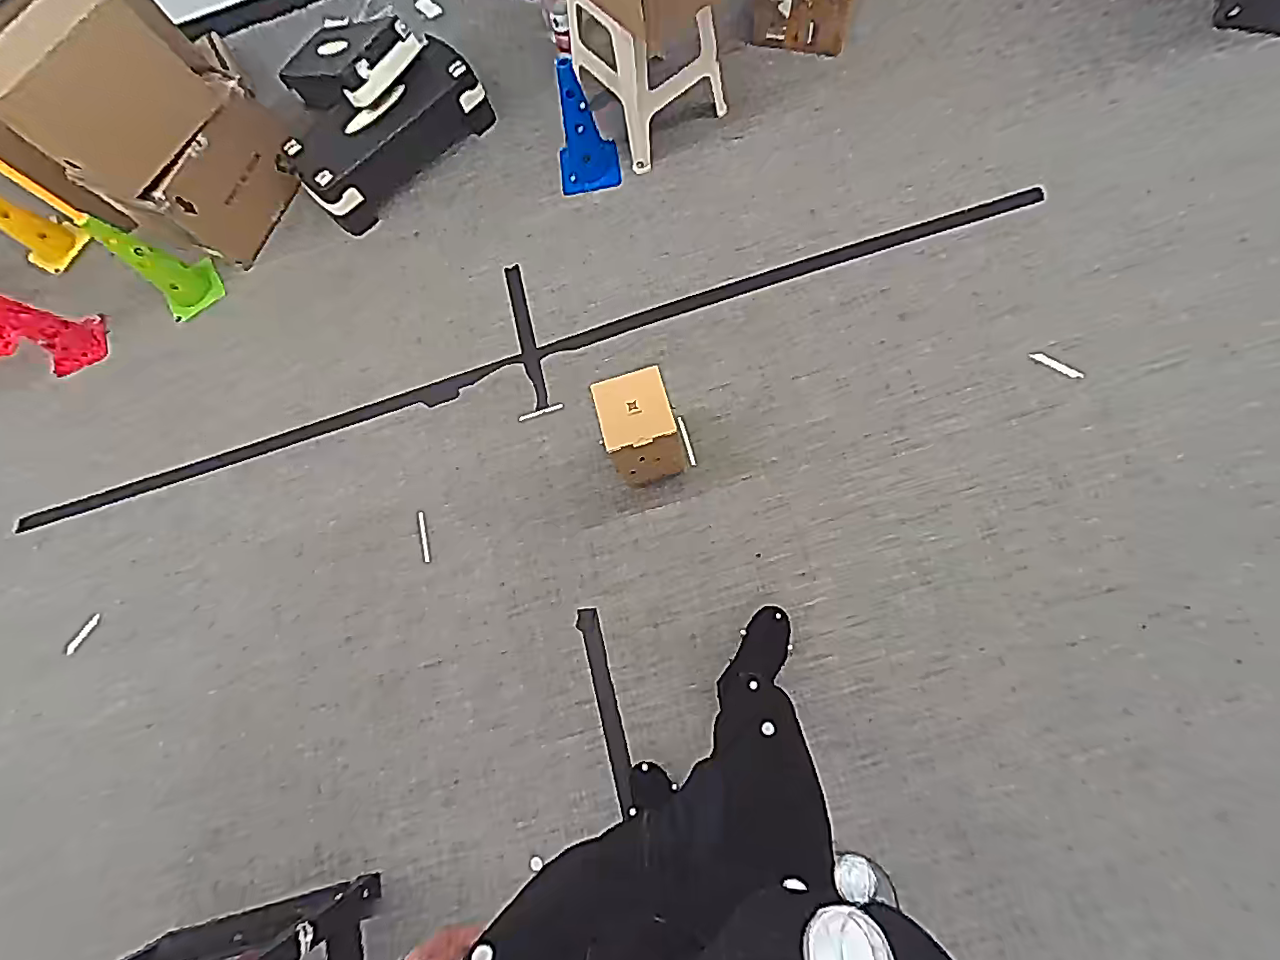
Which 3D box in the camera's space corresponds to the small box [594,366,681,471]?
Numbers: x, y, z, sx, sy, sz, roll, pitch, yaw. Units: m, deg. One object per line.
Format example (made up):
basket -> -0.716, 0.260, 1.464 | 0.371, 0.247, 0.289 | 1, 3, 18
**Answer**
small box -> -0.003, -0.142, 1.302 | 0.168, 0.176, 0.179 | -16, 73, 2
